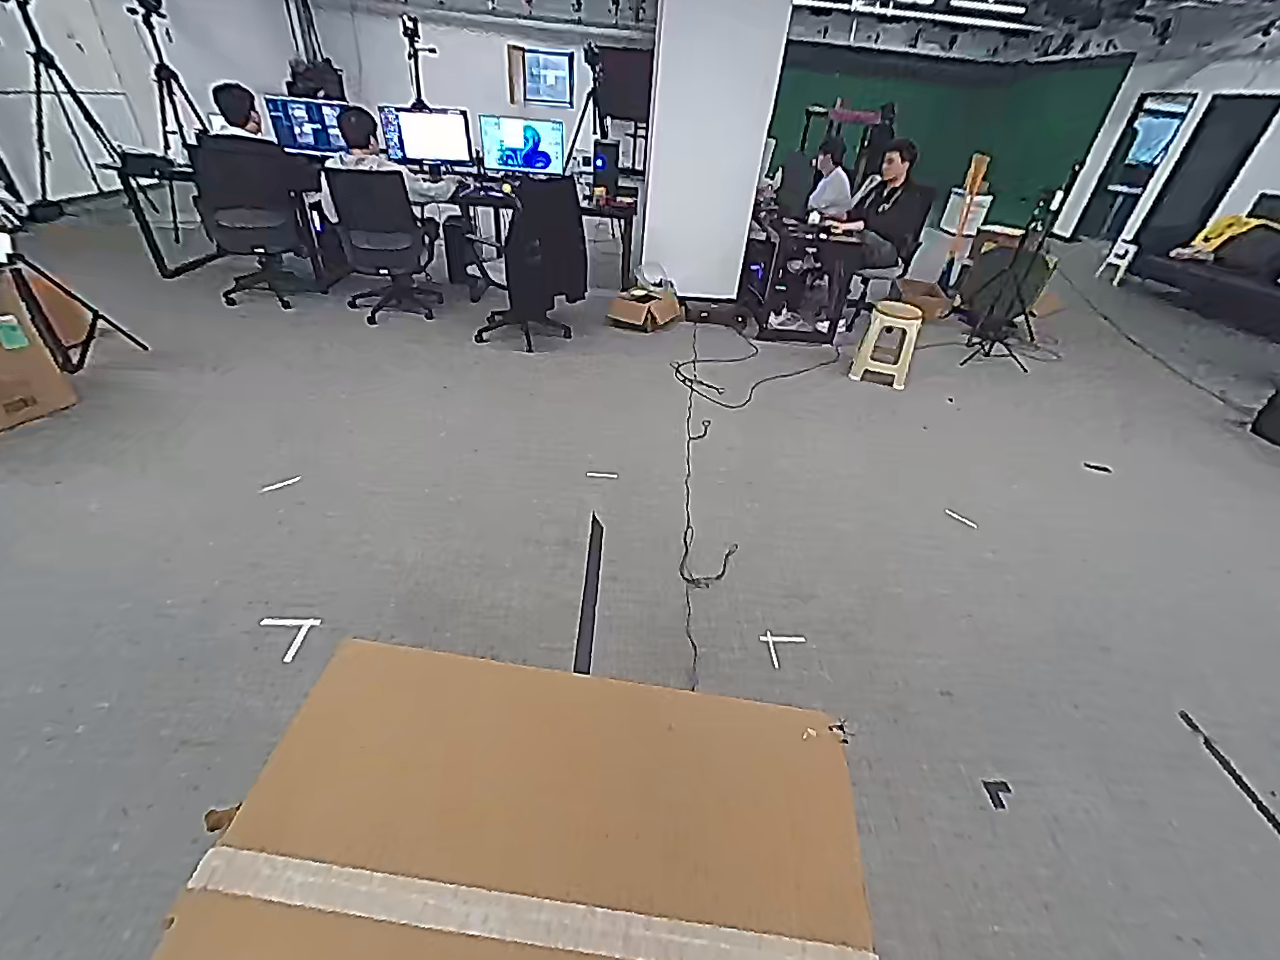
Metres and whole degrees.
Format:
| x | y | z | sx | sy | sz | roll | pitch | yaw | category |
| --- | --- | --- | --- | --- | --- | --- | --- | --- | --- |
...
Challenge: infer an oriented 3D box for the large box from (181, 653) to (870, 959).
| x | y | z | sx | sy | sz | roll | pitch | yaw | category |
| --- | --- | --- | --- | --- | --- | --- | --- | --- | --- |
| -0.071 | 0.377 | 0.430 | 0.408 | 0.320 | 0.320 | 8 | 43 | 1 | large box |
